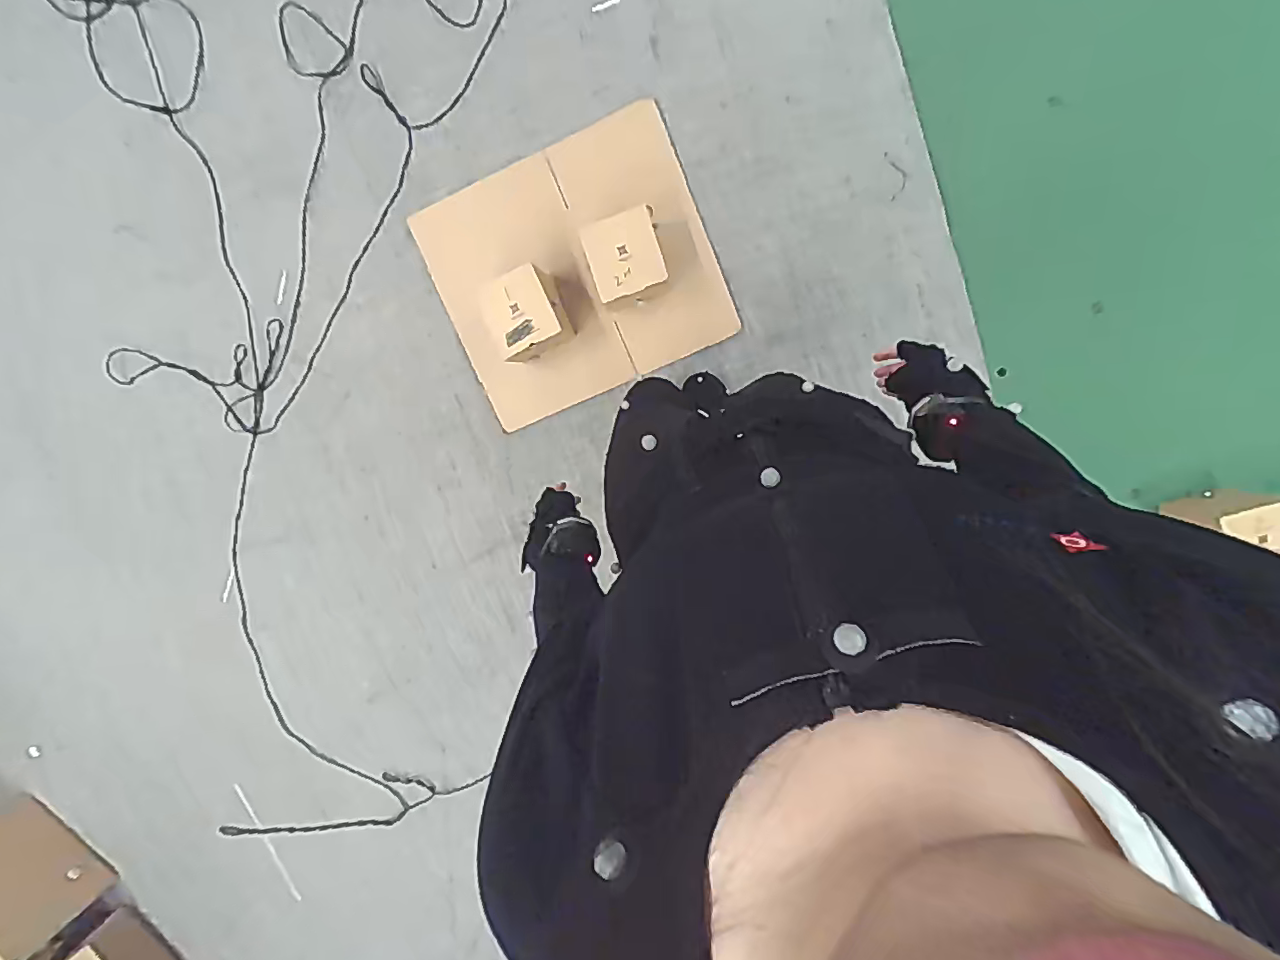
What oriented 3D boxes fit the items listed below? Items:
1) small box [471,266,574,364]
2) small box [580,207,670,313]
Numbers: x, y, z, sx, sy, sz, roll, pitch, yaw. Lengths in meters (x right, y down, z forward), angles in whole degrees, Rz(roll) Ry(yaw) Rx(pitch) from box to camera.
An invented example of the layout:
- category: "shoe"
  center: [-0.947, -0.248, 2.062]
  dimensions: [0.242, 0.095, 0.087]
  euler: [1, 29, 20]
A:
- category: "small box"
  center: [-0.280, -0.400, 1.339]
  dimensions: [0.168, 0.176, 0.179]
  euler: [-24, 97, 8]
- category: "small box"
  center: [-0.030, -0.520, 1.304]
  dimensions: [0.168, 0.176, 0.179]
  euler: [-18, 99, 8]
